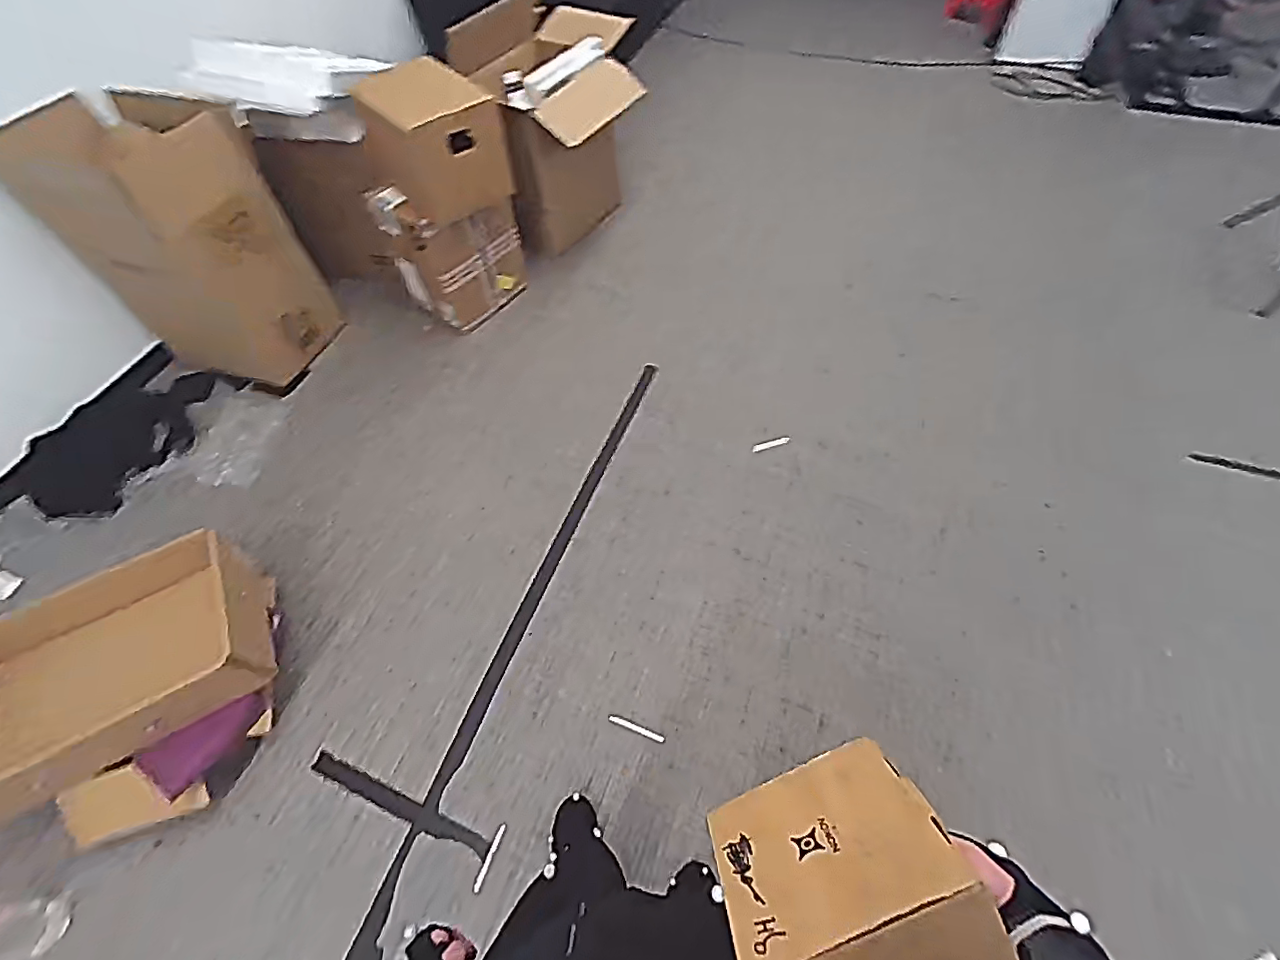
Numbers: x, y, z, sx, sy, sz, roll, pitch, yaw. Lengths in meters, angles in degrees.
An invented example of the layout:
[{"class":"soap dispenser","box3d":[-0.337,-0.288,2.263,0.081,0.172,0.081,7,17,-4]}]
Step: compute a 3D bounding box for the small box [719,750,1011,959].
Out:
[{"class":"small box","box3d":[0.189,0.378,0.455,0.179,0.168,0.176,-25,95,1]}]
